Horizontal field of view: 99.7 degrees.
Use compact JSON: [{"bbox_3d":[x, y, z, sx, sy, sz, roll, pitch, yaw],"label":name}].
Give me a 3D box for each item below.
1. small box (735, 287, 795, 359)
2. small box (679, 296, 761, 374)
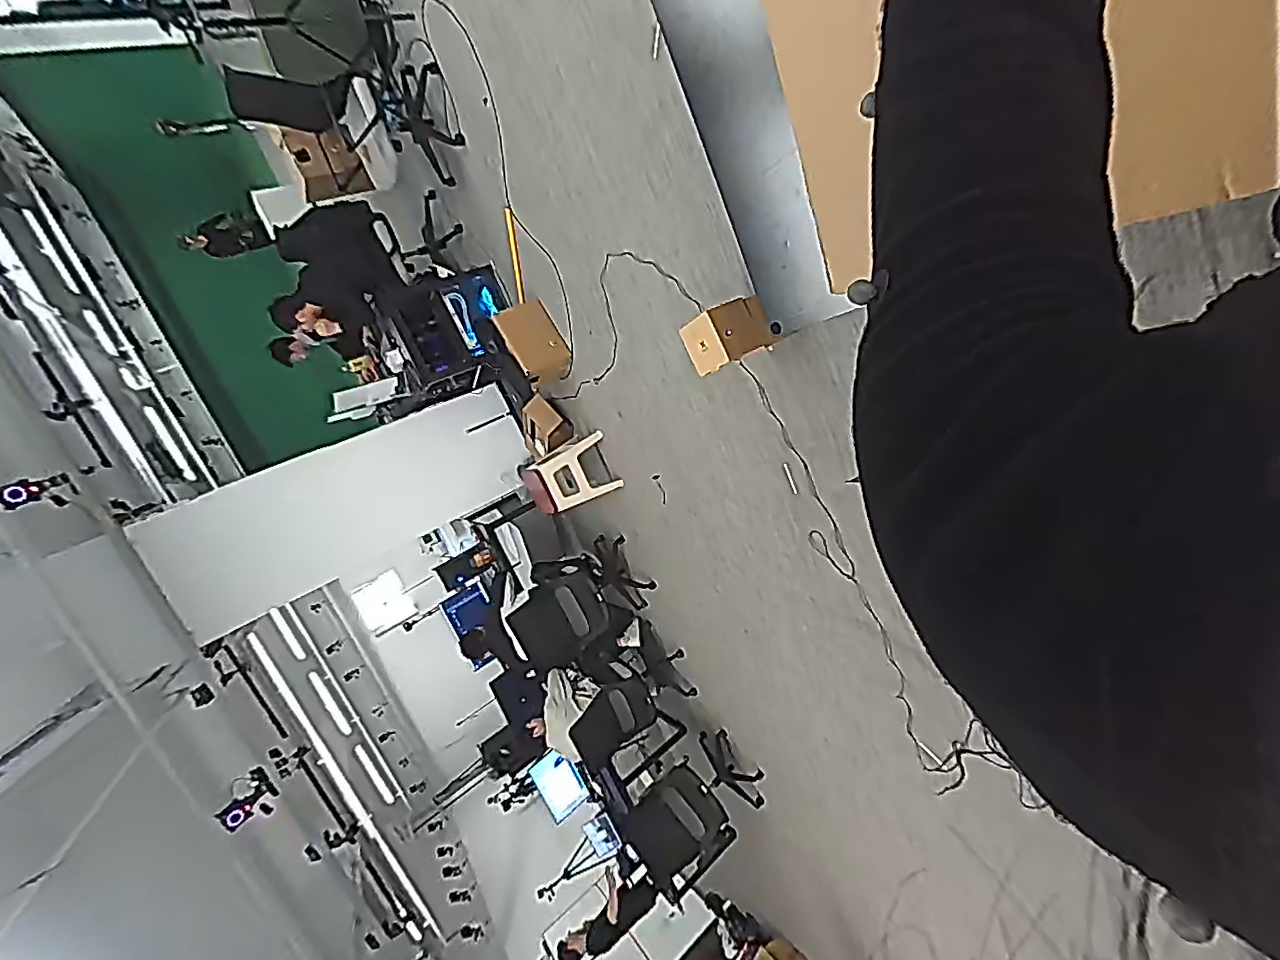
[{"bbox_3d":[0.395,-0.542,1.851,0.168,0.176,0.179,-10,108,61],"label":"small box"},{"bbox_3d":[0.266,-0.476,1.776,0.168,0.176,0.179,-17,100,61],"label":"small box"}]
